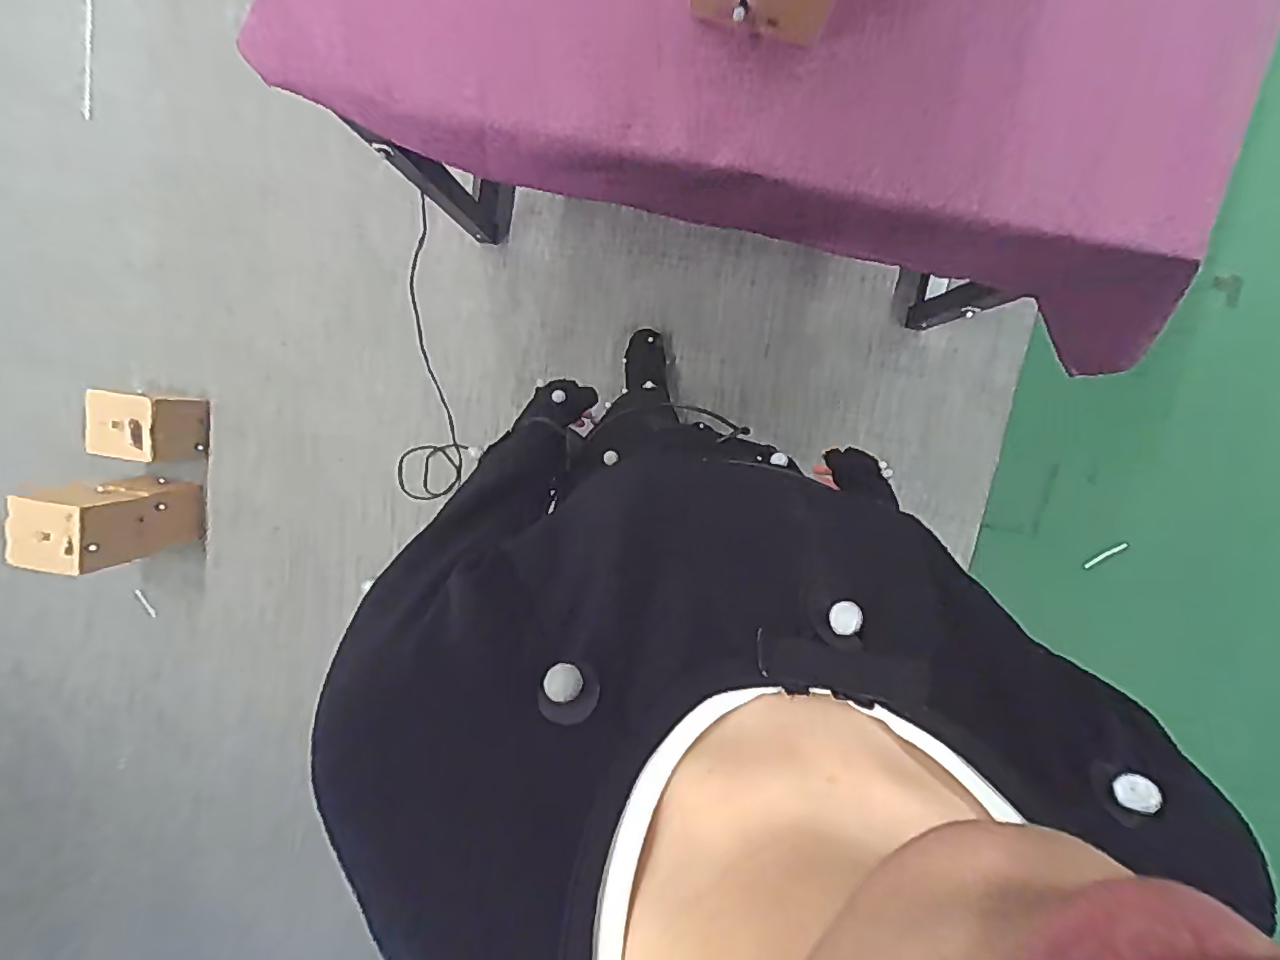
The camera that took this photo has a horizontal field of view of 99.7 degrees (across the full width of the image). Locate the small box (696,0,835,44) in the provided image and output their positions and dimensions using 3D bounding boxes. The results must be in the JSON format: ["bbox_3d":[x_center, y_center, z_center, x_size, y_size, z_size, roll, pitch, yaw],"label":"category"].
[{"bbox_3d":[0.158,-0.628,0.576,0.168,0.176,0.179,15,98,2],"label":"small box"}]

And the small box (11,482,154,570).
[{"bbox_3d":[-1.340,0.104,1.307,0.179,0.176,0.168,10,97,2],"label":"small box"}]

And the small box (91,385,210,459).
[{"bbox_3d":[-1.290,-0.156,1.435,0.179,0.176,0.168,9,97,2],"label":"small box"}]
